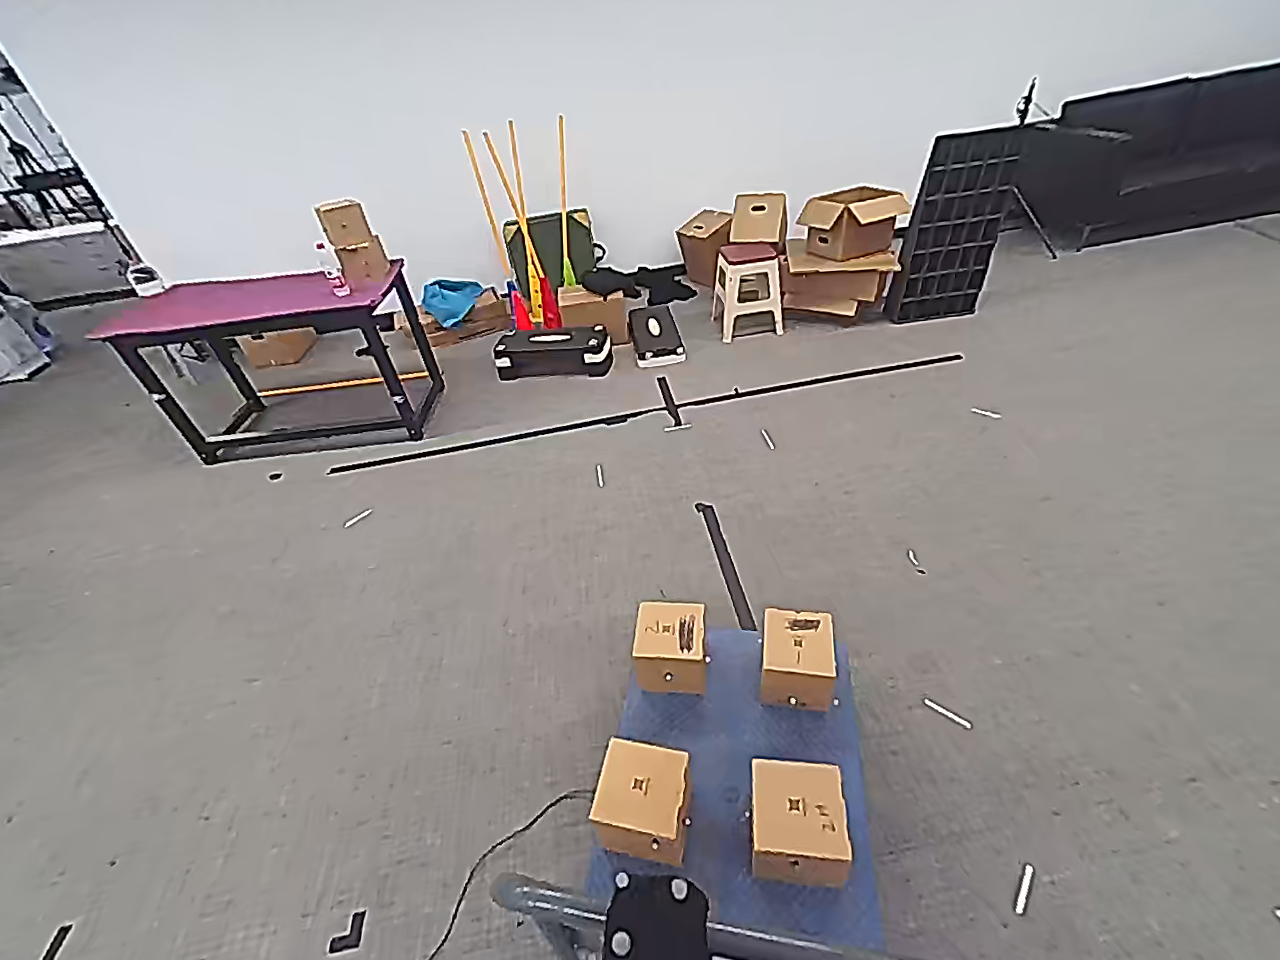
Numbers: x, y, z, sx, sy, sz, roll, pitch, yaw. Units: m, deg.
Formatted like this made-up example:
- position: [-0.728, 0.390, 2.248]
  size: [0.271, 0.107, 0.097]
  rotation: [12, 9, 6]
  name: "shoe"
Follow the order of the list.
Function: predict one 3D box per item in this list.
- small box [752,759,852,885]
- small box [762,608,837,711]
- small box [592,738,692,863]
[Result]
- position: [0.317, 0.690, 1.091]
  size: [0.179, 0.176, 0.168]
  rotation: [0, 40, 10]
  name: "small box"
- position: [0.397, 0.452, 1.365]
  size: [0.168, 0.176, 0.179]
  rotation: [3, 42, 13]
  name: "small box"
- position: [0.013, 0.683, 1.152]
  size: [0.179, 0.176, 0.168]
  rotation: [5, 40, 13]
  name: "small box"
